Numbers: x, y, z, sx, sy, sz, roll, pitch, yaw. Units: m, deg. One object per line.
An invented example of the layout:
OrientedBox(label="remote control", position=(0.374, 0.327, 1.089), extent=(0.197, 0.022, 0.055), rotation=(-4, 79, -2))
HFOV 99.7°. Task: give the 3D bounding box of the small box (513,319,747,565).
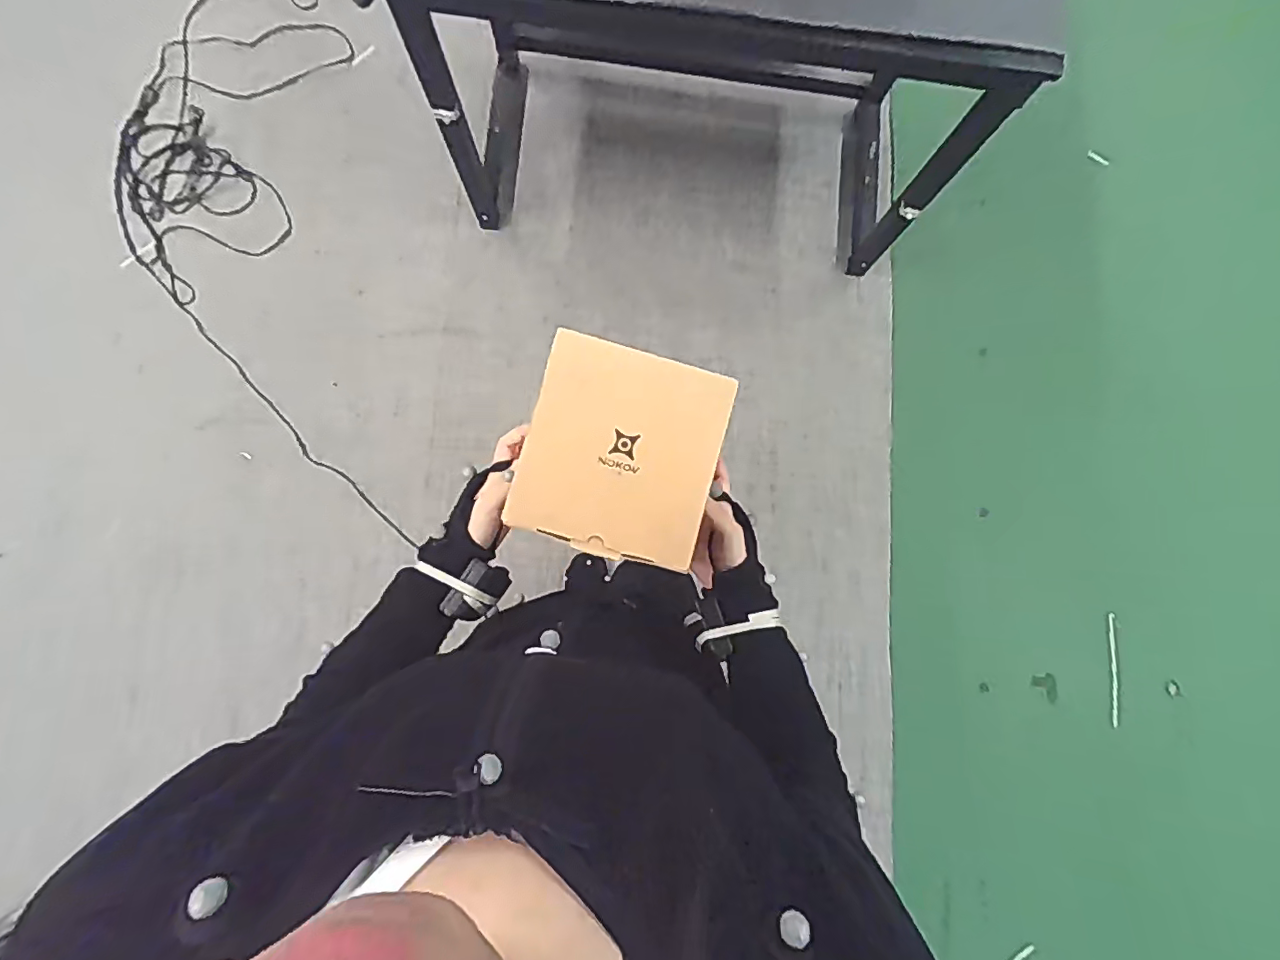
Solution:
OrientedBox(label="small box", position=(-0.013, -0.029, 0.535), extent=(0.168, 0.176, 0.179), rotation=(15, 87, -4))
